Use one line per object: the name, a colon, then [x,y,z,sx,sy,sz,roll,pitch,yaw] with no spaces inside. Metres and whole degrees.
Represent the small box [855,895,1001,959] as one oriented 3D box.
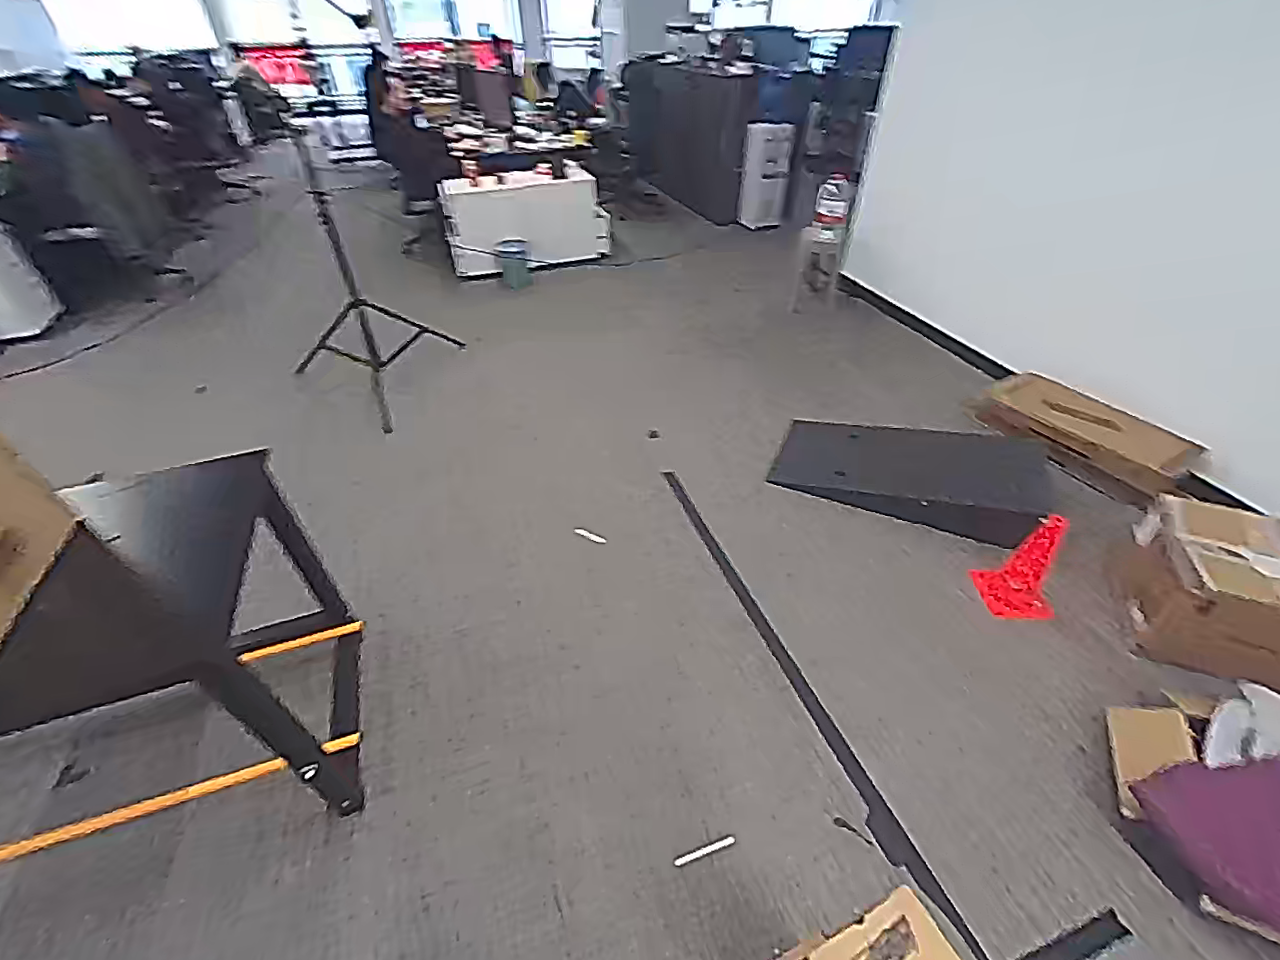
small box: [0.326,0.615,0.597,0.168,0.176,0.179,-18,45,-19]
